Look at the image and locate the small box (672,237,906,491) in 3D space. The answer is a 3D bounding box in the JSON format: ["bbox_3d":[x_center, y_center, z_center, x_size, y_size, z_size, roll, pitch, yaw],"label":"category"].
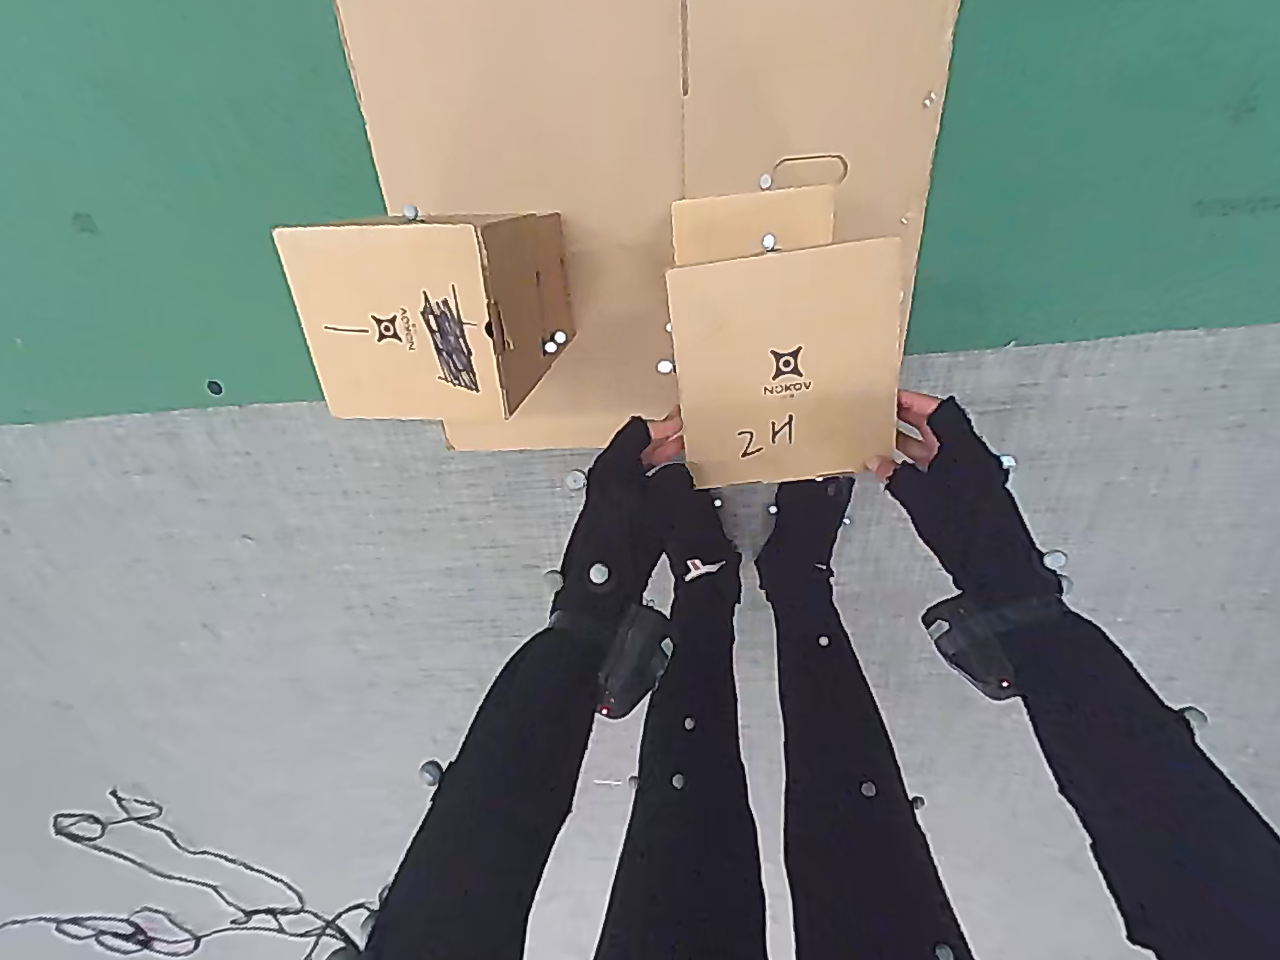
[{"bbox_3d":[0.117,-0.107,0.482,0.168,0.176,0.179,-6,111,6],"label":"small box"}]

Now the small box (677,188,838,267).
[{"bbox_3d":[0.130,-0.244,0.652,0.168,0.176,0.179,-3,118,7],"label":"small box"}]

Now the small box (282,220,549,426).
[{"bbox_3d":[-0.194,-0.162,0.536,0.179,0.176,0.168,2,118,7],"label":"small box"}]
